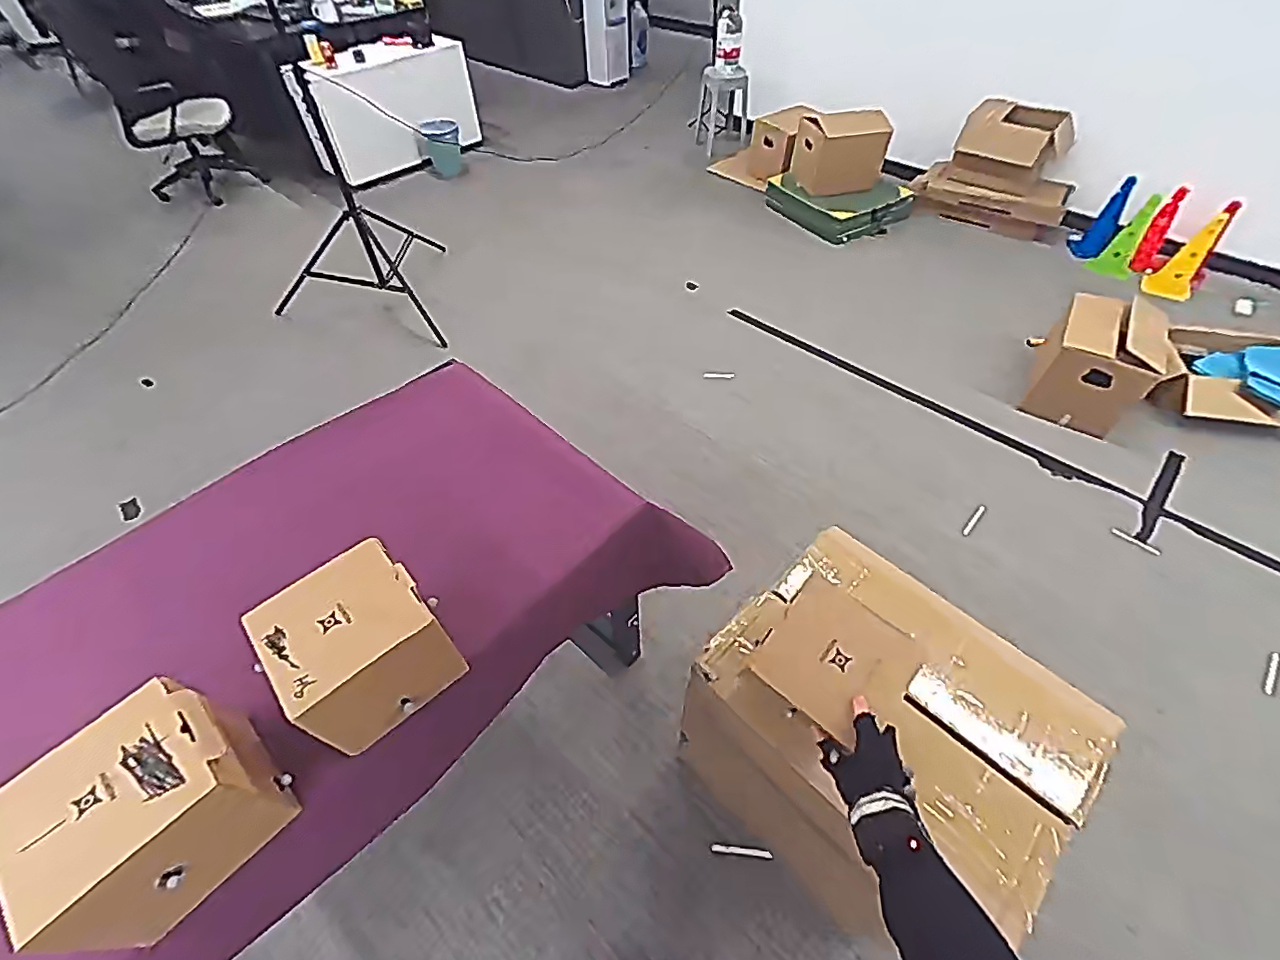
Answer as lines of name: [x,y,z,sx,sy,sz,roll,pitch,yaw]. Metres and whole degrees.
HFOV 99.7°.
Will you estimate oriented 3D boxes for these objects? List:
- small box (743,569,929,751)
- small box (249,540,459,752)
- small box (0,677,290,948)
small box: [0.264,0.261,0.775,0.179,0.176,0.168,36,73,19]
small box: [-0.361,0.220,0.718,0.179,0.176,0.168,-35,57,-26]
small box: [-0.531,0.363,0.601,0.168,0.176,0.179,34,60,27]
